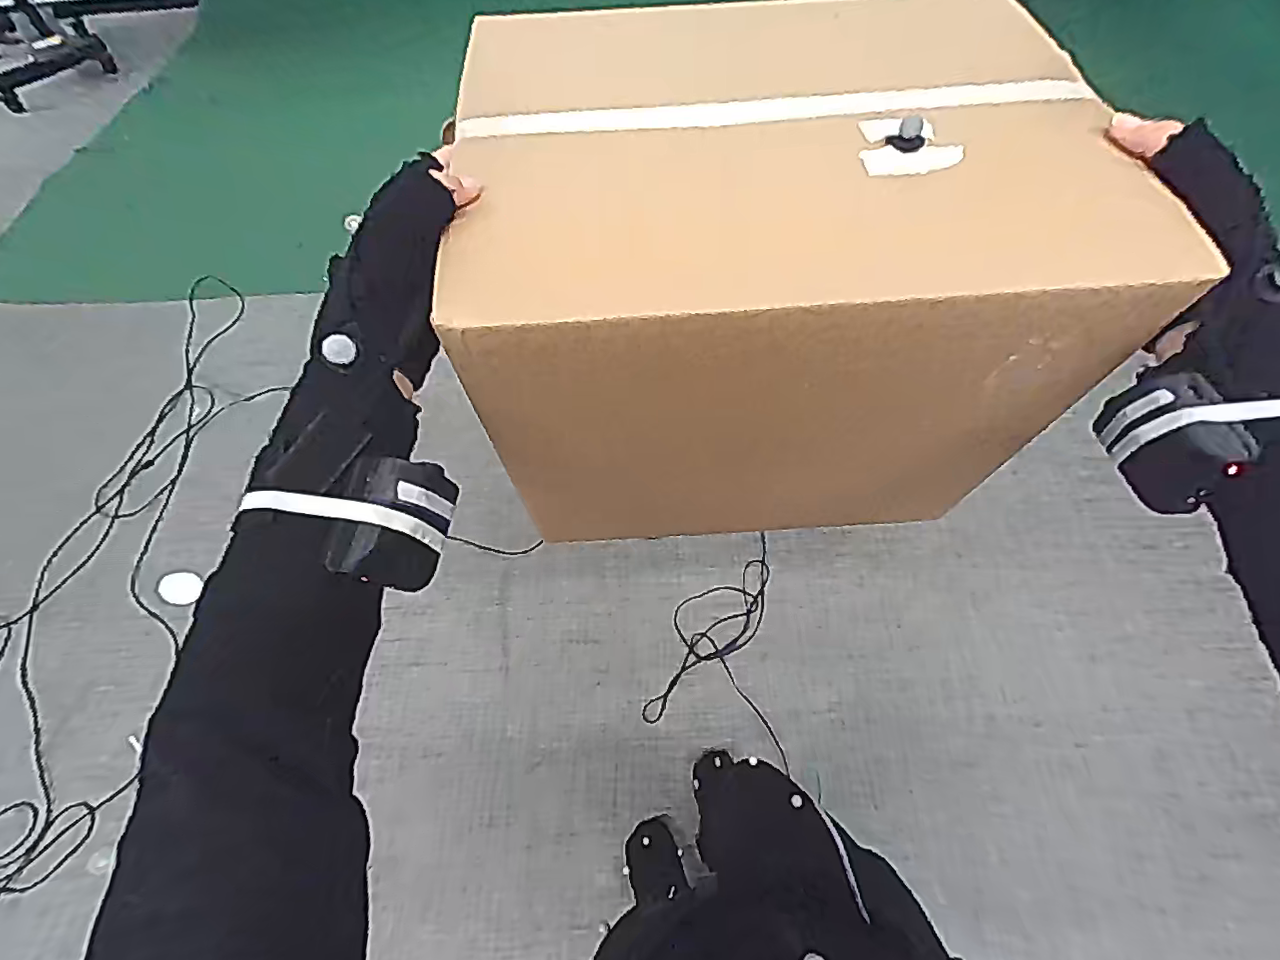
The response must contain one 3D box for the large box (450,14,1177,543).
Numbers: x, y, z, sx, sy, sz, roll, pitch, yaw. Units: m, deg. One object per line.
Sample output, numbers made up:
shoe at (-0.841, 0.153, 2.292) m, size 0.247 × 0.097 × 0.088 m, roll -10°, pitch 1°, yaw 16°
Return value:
large box at (0.085, -0.152, 0.487) m, size 0.408 × 0.320 × 0.320 m, roll -4°, pitch 63°, yaw -1°
